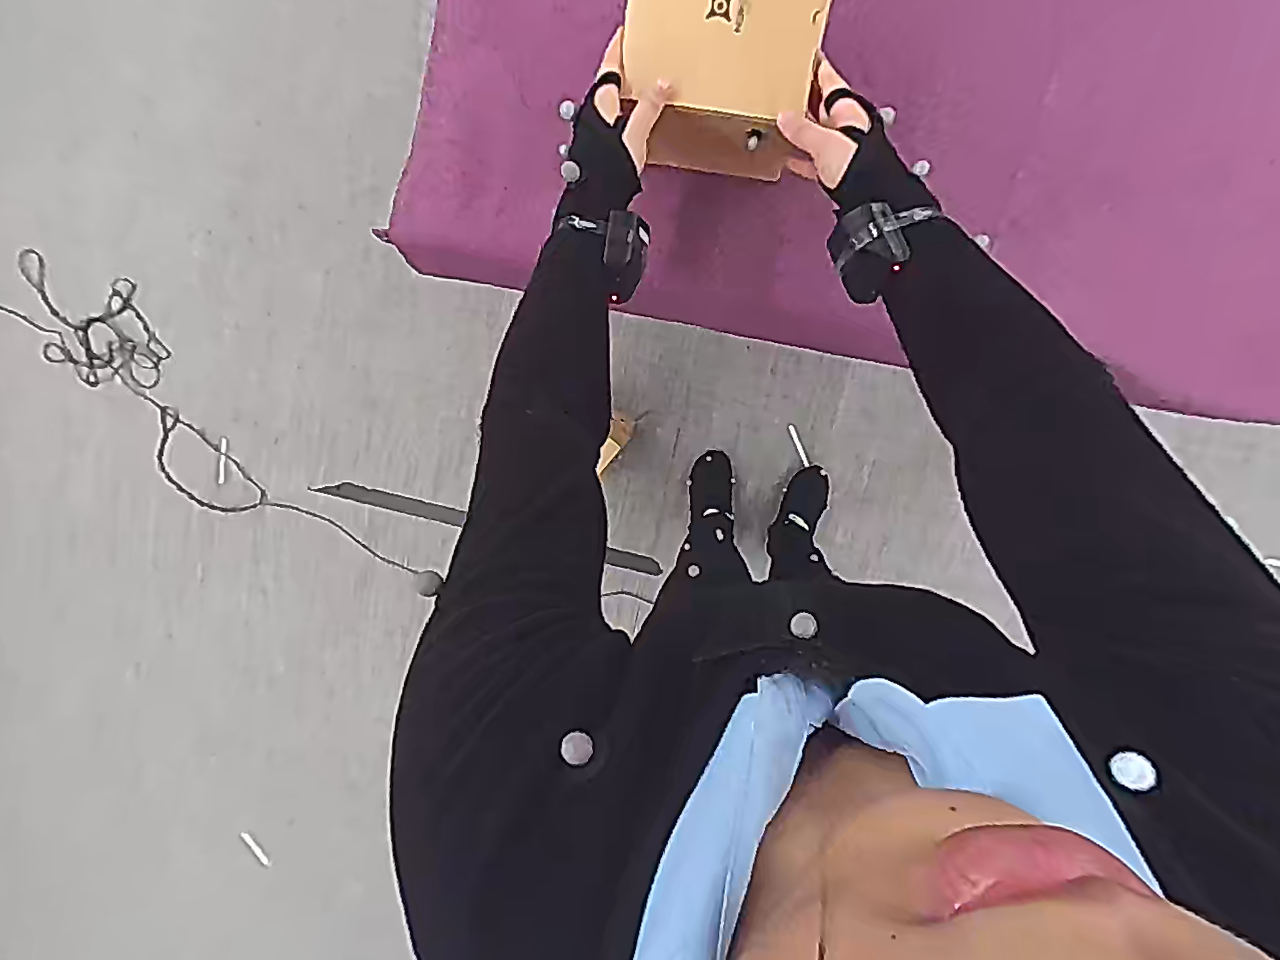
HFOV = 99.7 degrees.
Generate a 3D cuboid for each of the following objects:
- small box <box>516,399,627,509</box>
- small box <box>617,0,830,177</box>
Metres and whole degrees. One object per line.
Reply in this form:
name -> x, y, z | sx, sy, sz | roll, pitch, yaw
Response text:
small box -> -0.143, -0.067, 1.214 | 0.168, 0.176, 0.179 | 40, 102, -3
small box -> 0.083, -0.430, 0.550 | 0.179, 0.176, 0.168 | 9, 103, 3
